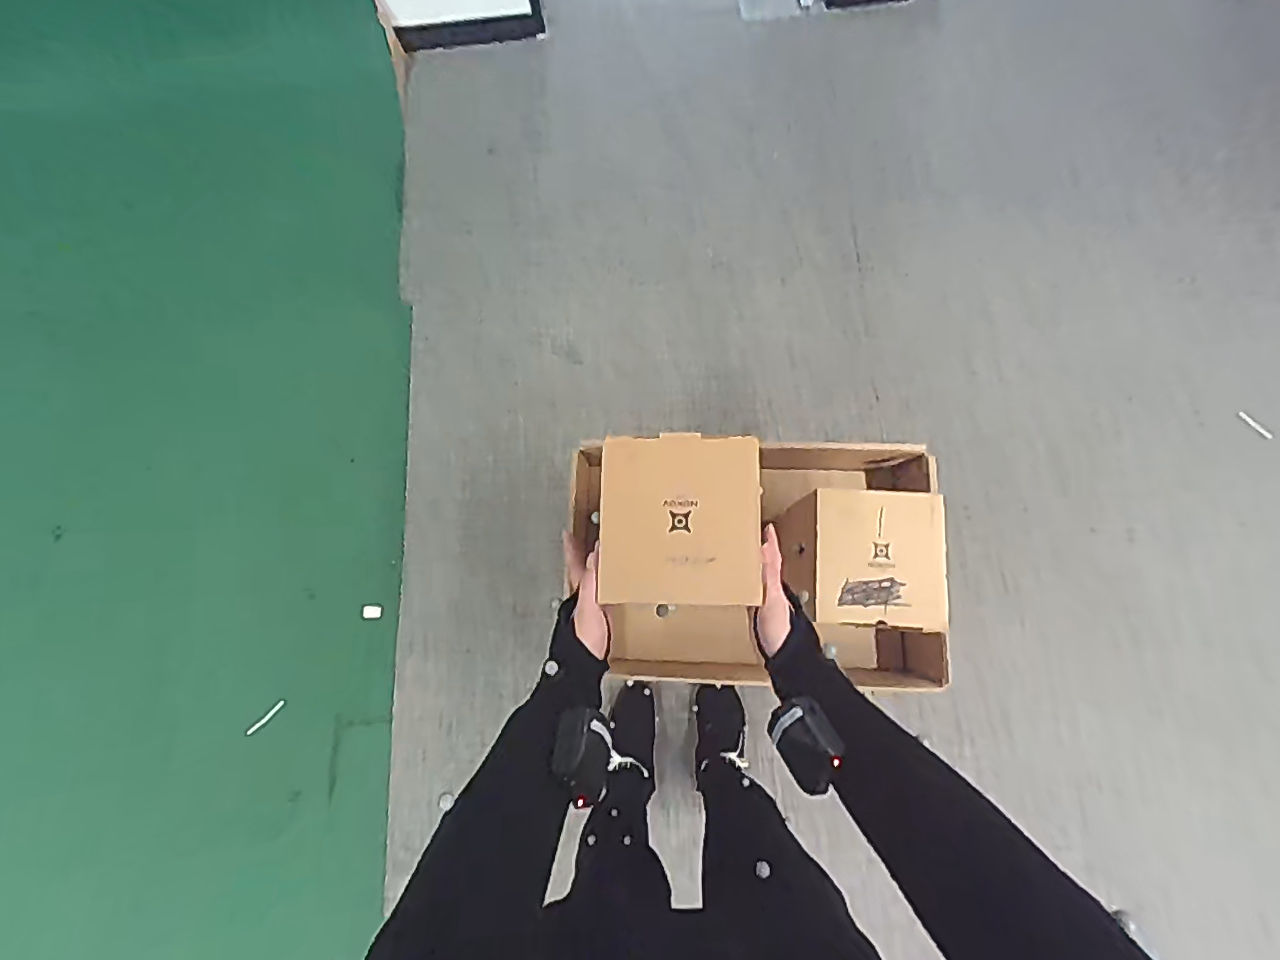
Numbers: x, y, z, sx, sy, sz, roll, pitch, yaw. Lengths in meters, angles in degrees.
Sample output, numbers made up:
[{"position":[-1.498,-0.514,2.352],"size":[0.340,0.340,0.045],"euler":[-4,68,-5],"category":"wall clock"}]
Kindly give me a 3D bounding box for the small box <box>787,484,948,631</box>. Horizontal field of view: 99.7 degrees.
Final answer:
[{"position":[0.308,0.110,0.761],"size":[0.168,0.176,0.179],"euler":[3,78,4],"category":"small box"}]

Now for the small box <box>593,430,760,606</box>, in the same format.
[{"position":[0.042,0.051,0.620],"size":[0.168,0.176,0.179],"euler":[1,78,4],"category":"small box"}]
